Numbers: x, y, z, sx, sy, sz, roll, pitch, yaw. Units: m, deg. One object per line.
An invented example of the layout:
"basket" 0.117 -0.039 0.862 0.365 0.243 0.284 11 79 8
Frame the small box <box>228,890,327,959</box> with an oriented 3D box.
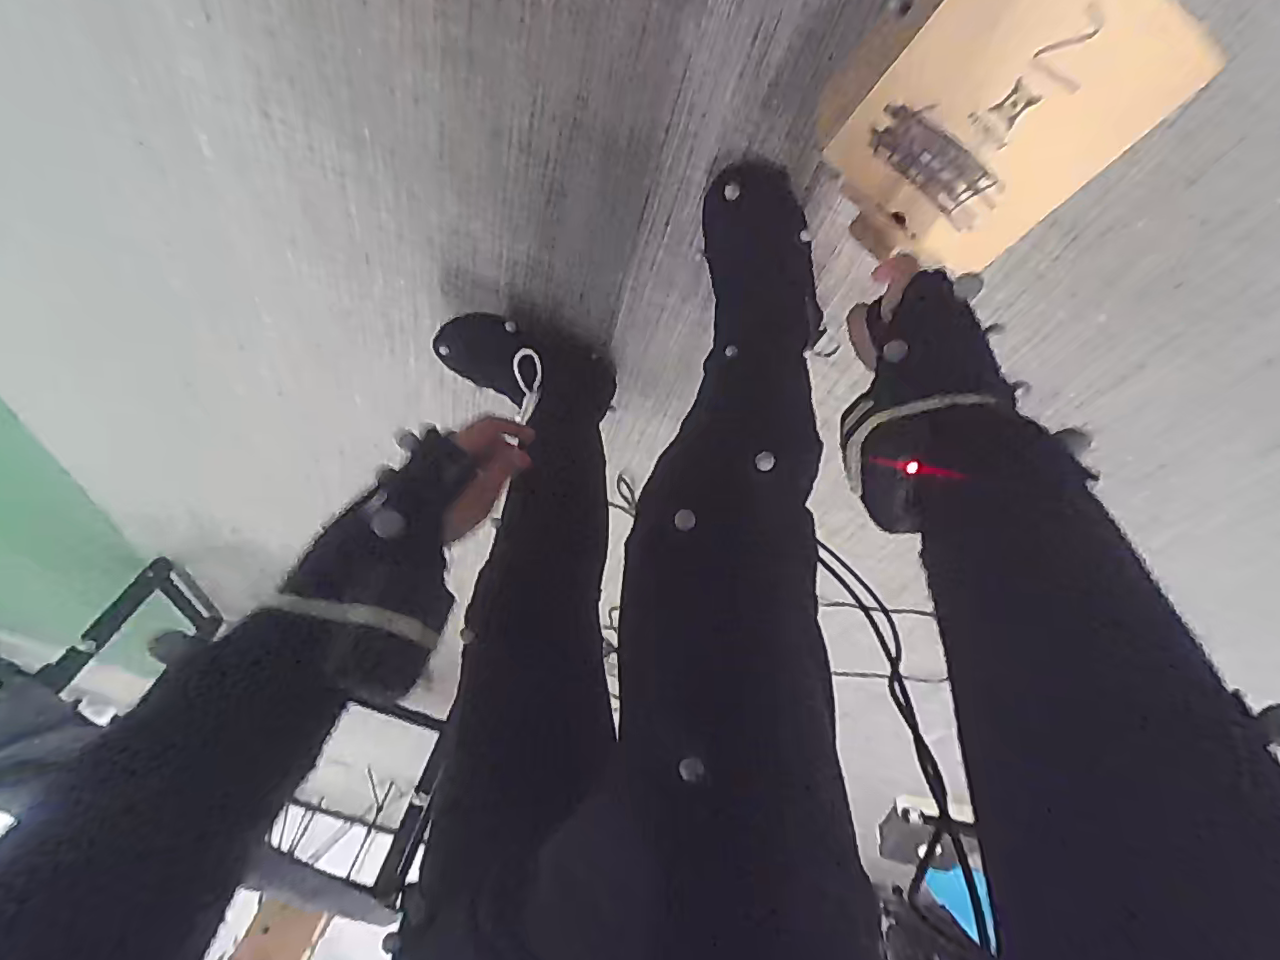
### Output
"small box" -1.005 1.267 1.505 0.168 0.176 0.179 24 141 -6
